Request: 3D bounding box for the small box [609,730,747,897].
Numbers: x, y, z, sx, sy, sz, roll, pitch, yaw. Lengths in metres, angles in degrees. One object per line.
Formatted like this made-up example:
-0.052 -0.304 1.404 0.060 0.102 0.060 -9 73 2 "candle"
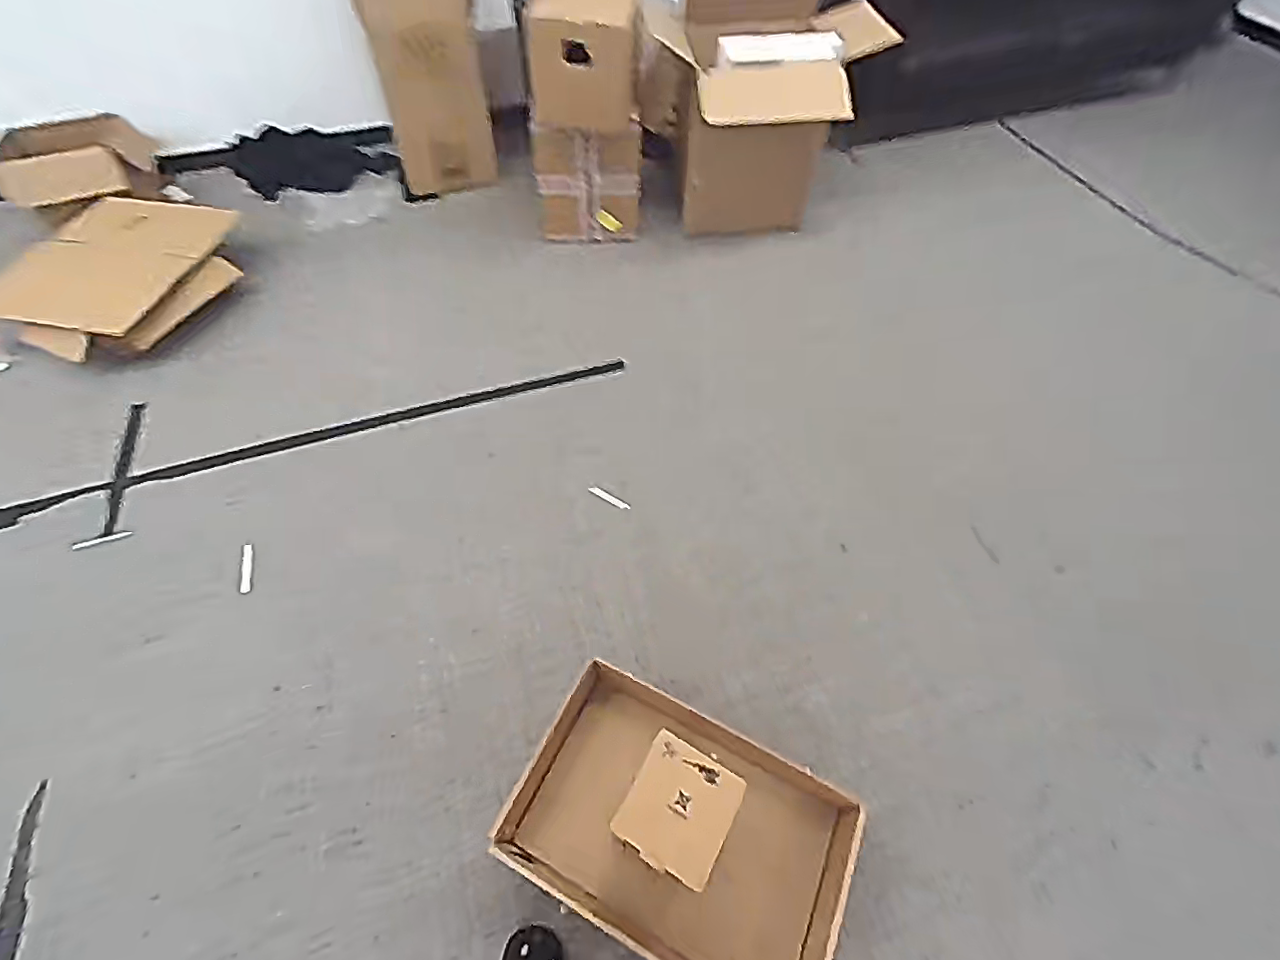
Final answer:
0.063 0.571 0.934 0.168 0.176 0.179 28 60 16 "small box"
